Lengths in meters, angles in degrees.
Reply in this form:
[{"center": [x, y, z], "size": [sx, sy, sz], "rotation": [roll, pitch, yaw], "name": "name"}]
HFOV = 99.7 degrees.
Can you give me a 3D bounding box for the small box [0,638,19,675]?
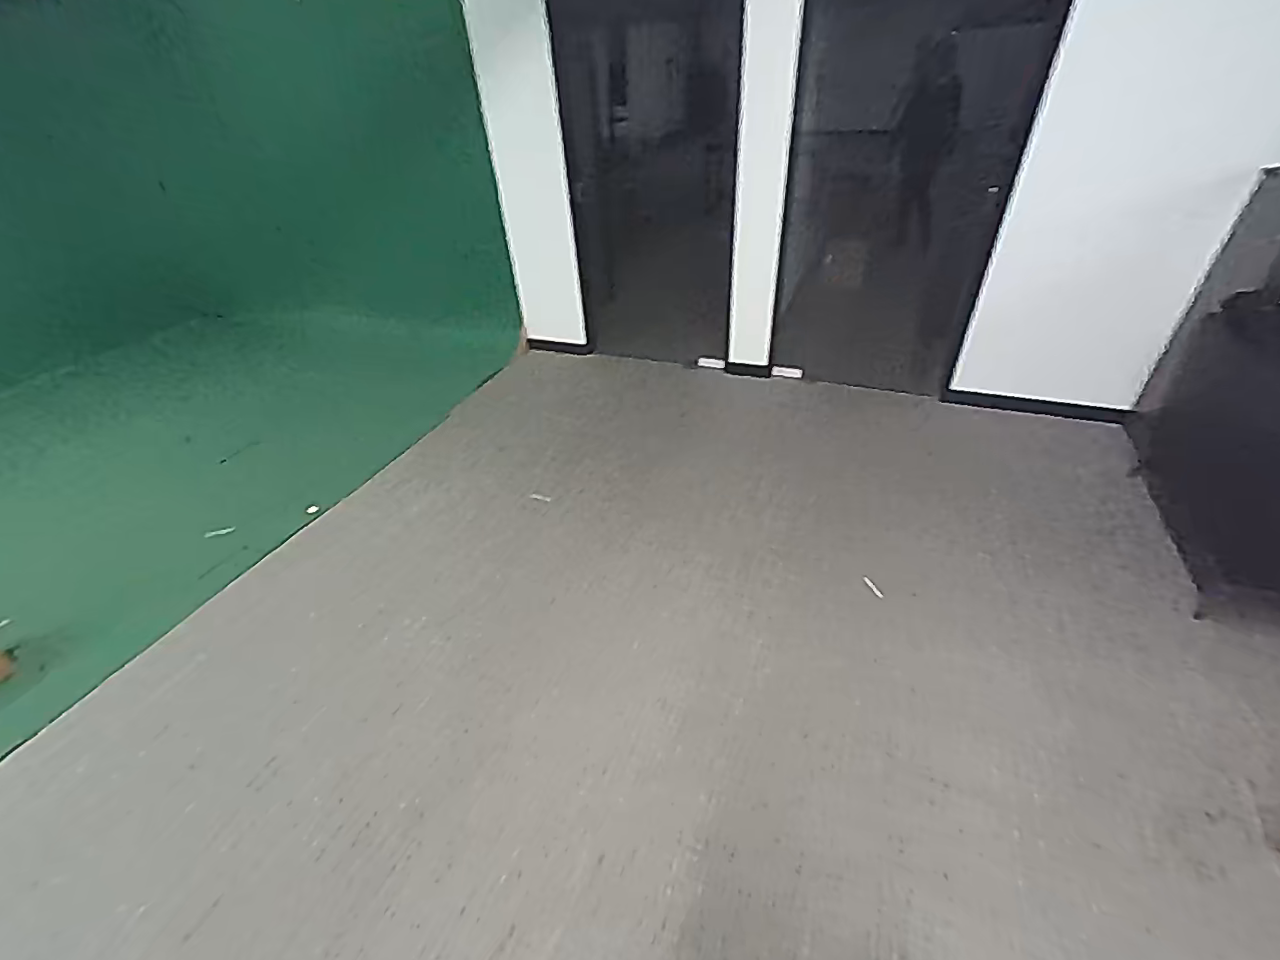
[{"center": [-2.223, 0.581, 1.779], "size": [0.168, 0.176, 0.179], "rotation": [16, 42, 22], "name": "small box"}]
